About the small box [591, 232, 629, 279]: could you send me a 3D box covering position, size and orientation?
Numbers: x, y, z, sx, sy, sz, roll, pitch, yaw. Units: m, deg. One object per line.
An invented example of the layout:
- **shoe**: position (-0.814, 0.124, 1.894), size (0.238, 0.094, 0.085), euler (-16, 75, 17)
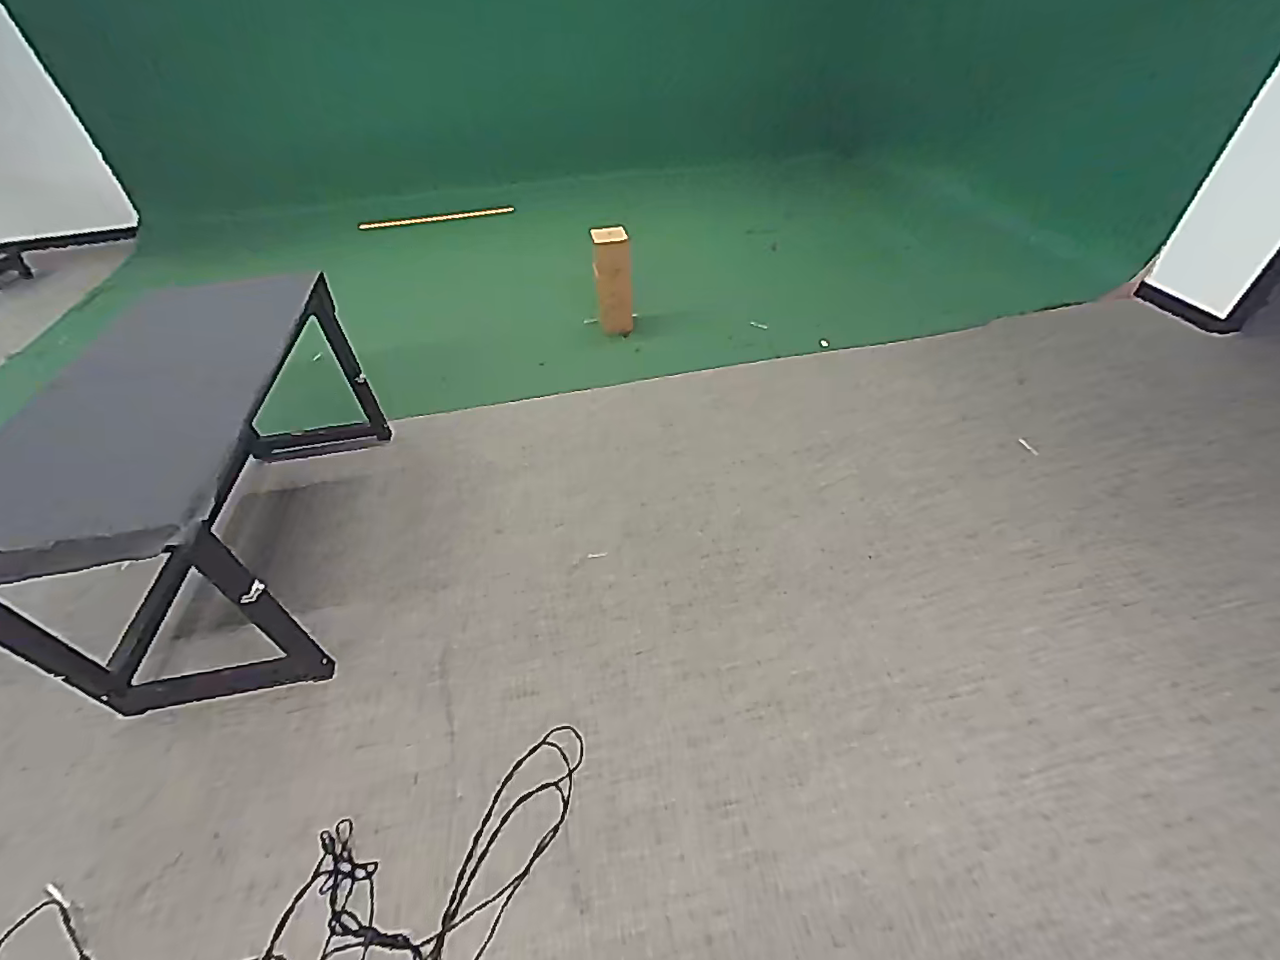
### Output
- **small box**: position (-0.153, -1.138, 2.739), size (0.168, 0.176, 0.179), euler (-9, 44, -7)

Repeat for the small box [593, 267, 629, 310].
- **small box**: position (-0.154, -1.014, 2.849), size (0.168, 0.176, 0.179), euler (-9, 44, -8)
